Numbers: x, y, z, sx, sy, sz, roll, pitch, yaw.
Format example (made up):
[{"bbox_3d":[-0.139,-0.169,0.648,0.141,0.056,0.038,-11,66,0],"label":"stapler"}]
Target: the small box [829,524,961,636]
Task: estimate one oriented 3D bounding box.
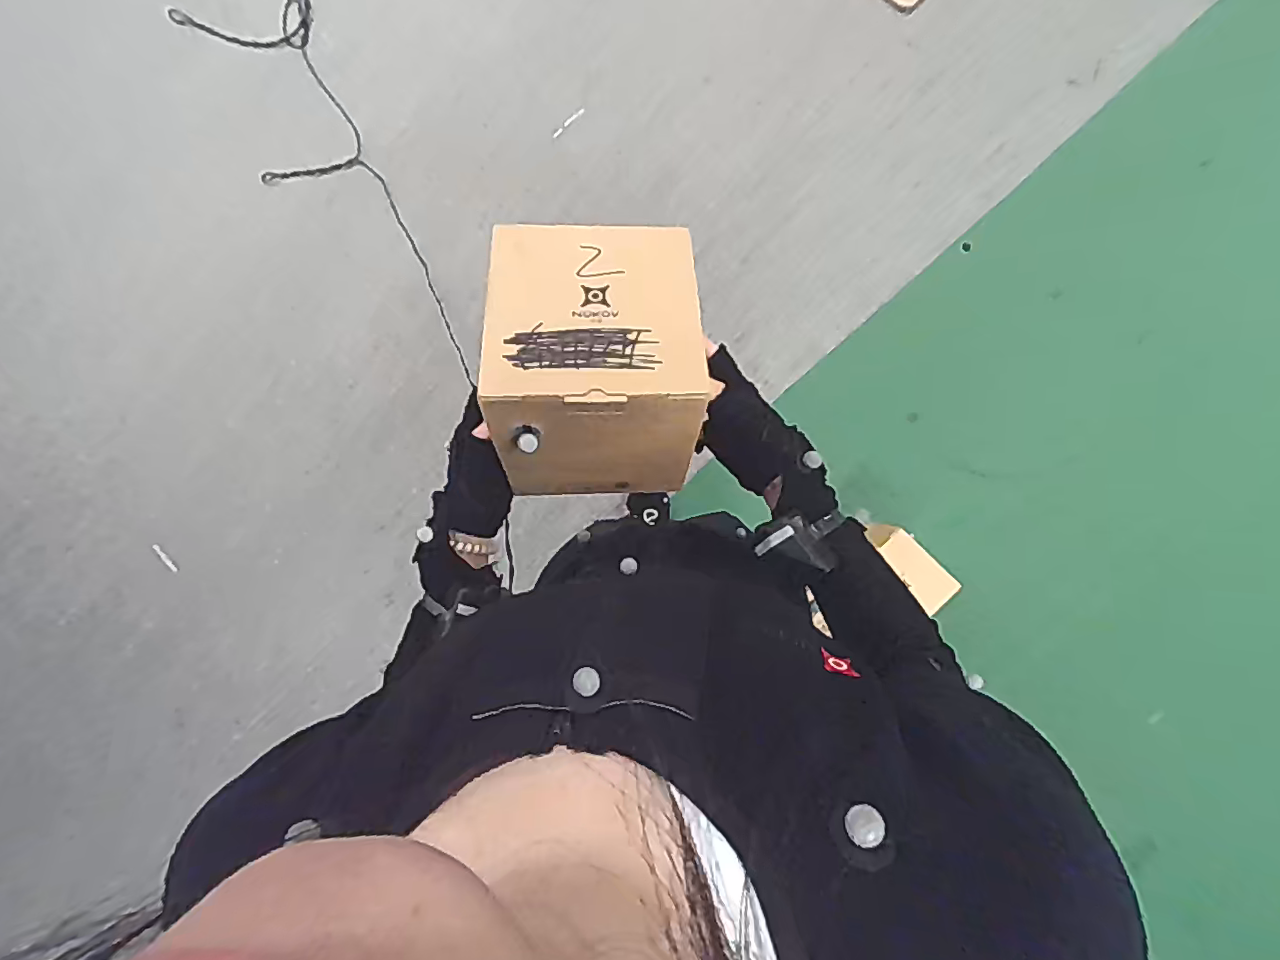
[{"bbox_3d":[0.558,0.212,1.209,0.179,0.176,0.168,44,93,5],"label":"small box"}]
